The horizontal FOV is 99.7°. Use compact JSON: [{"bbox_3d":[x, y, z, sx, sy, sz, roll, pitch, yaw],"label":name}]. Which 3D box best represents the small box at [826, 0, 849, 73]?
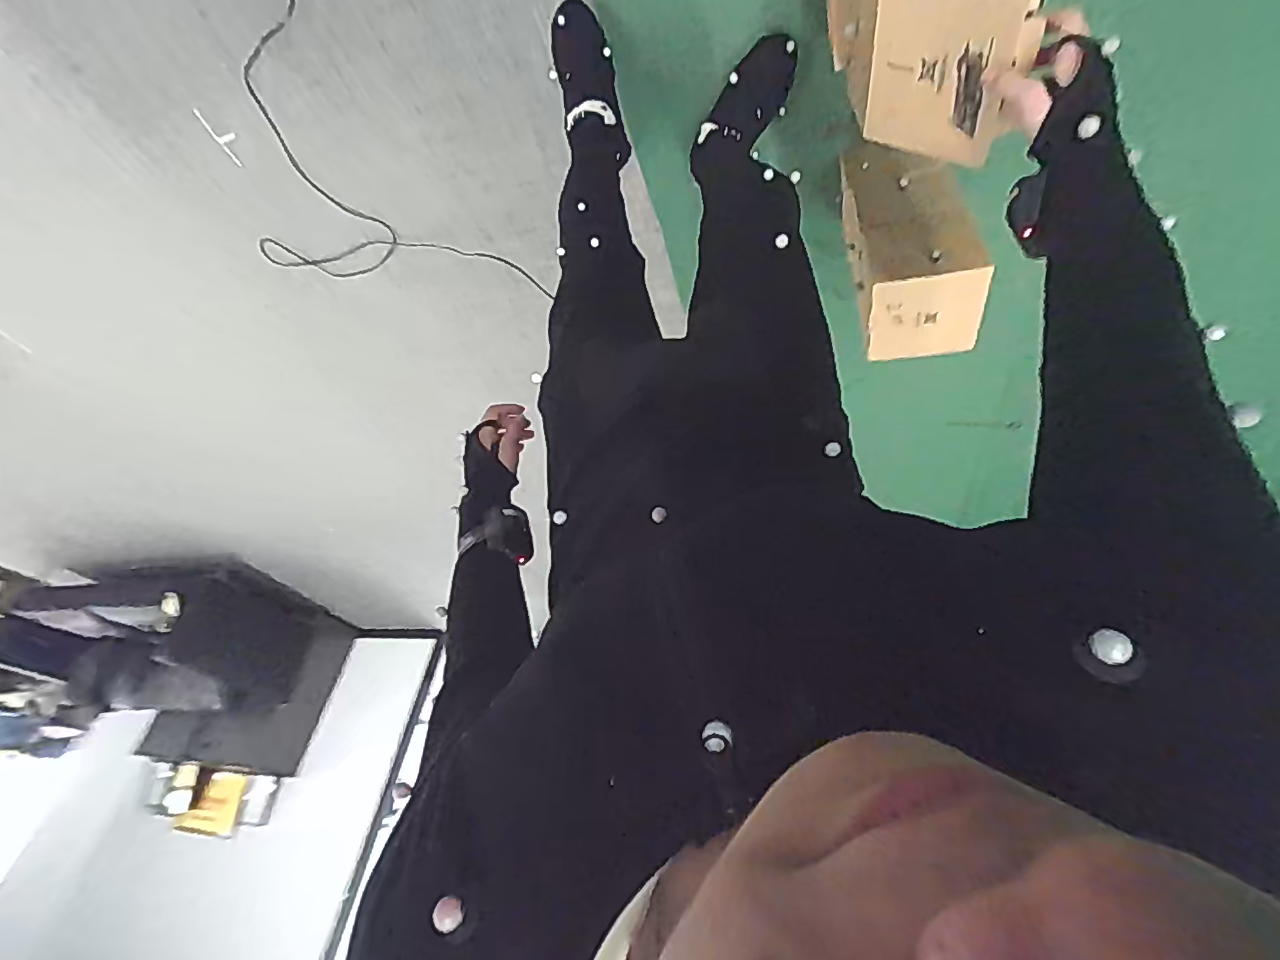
[{"bbox_3d":[0.398,-0.812,0.882,0.179,0.176,0.168,-7,141,19],"label":"small box"}]

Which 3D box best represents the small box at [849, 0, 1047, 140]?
[{"bbox_3d":[0.372,-0.560,0.676,0.179,0.176,0.168,-1,142,13],"label":"small box"}]

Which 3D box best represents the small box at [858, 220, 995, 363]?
[{"bbox_3d":[0.489,-0.332,0.953,0.179,0.176,0.168,-2,142,17],"label":"small box"}]

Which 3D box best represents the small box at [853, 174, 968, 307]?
[{"bbox_3d":[0.512,-0.462,1.052,0.179,0.176,0.168,-2,144,18],"label":"small box"}]
